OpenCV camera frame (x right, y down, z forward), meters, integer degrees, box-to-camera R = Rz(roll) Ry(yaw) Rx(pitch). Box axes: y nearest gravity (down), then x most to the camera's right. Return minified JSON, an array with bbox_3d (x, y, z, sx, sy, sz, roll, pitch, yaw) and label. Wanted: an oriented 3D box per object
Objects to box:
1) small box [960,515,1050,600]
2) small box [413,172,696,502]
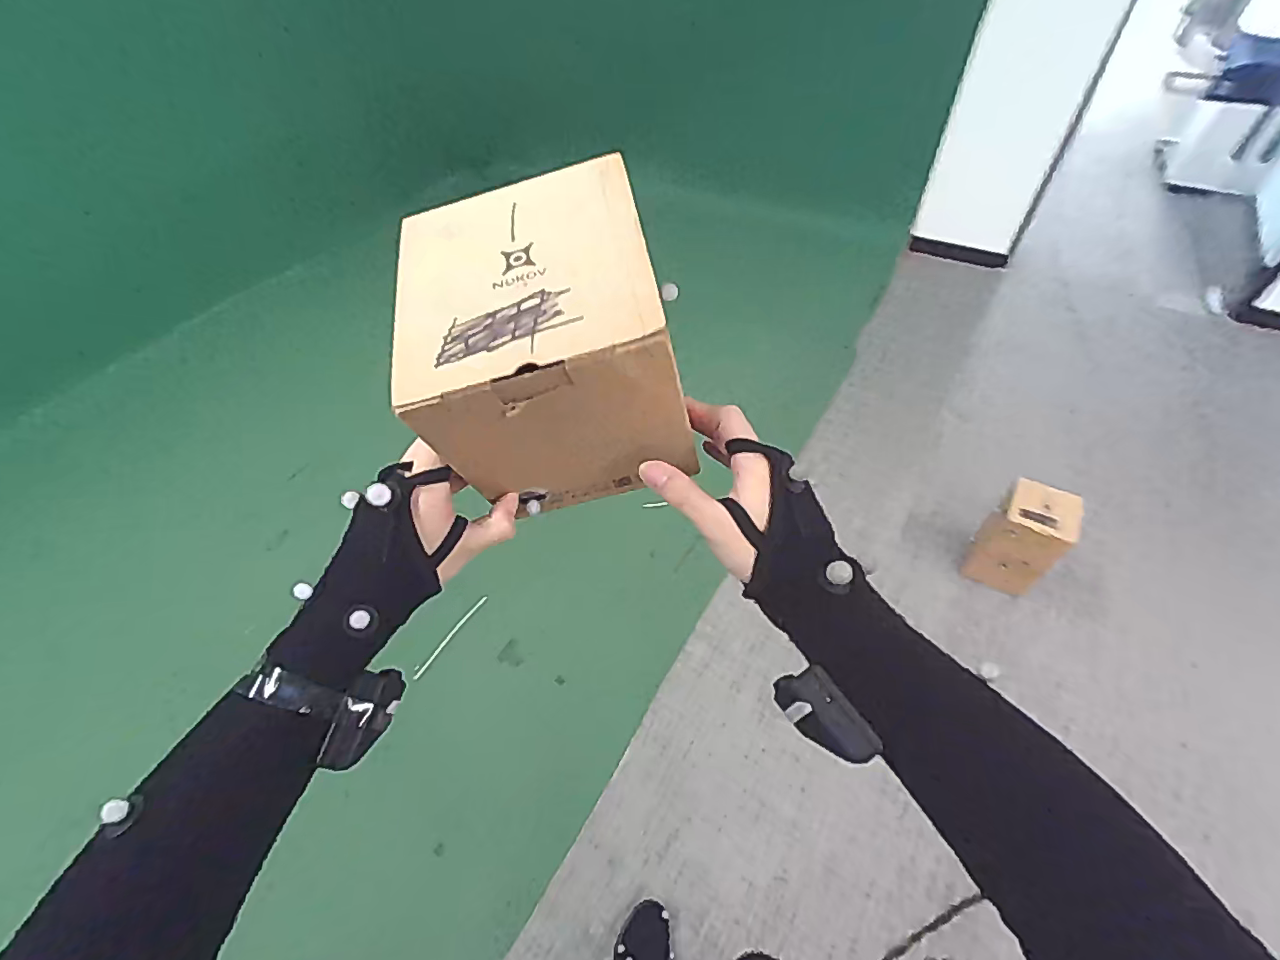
[{"bbox_3d":[1.130,0.246,1.684,0.179,0.176,0.168,24,57,21],"label":"small box"},{"bbox_3d":[-0.056,-0.096,0.430,0.168,0.176,0.179,-13,60,5],"label":"small box"}]
